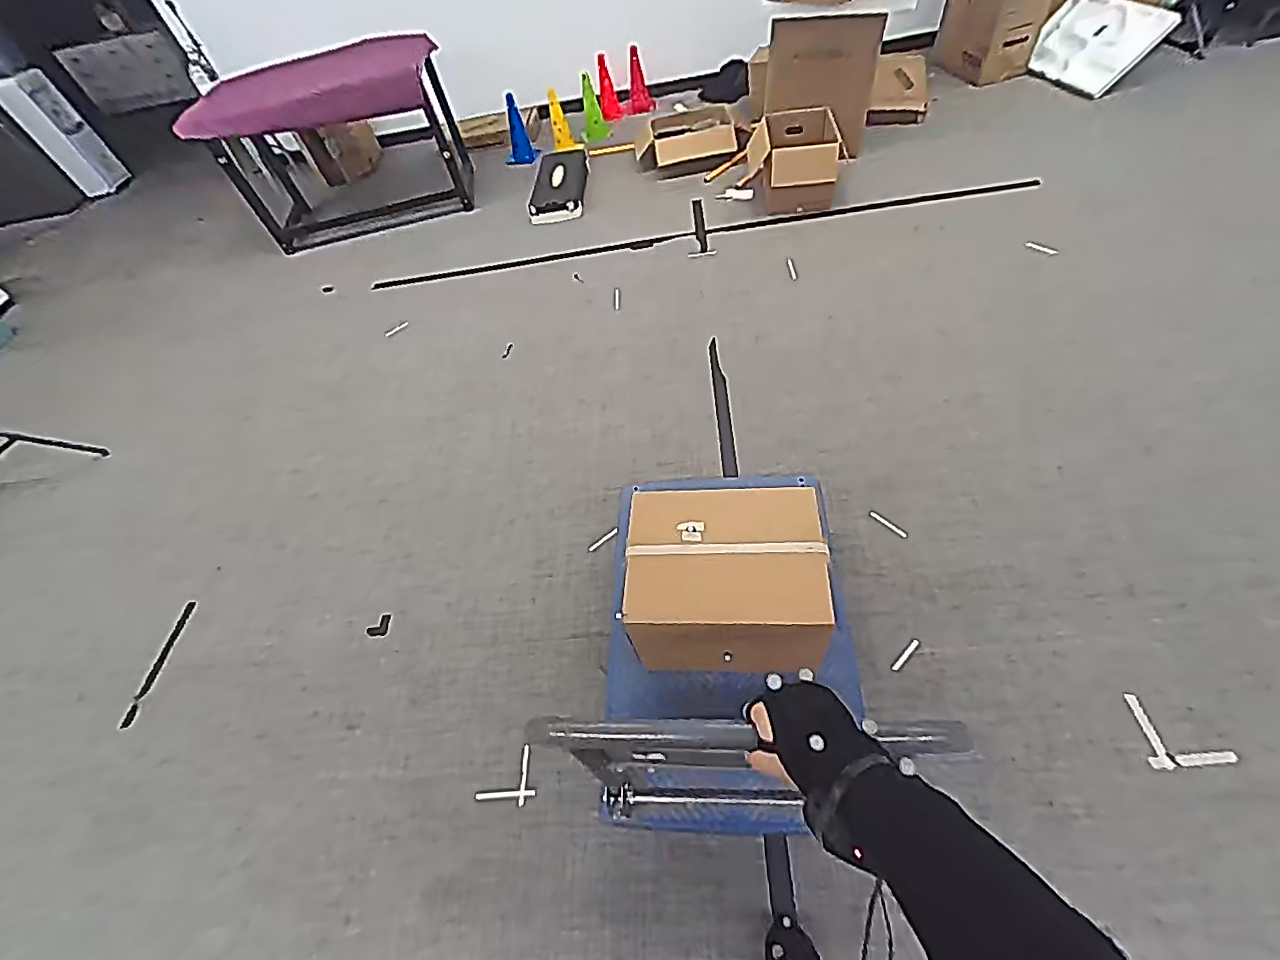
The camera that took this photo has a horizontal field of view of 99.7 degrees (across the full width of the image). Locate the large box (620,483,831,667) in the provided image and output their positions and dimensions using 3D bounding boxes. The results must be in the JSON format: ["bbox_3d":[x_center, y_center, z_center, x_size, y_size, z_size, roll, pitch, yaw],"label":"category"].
[{"bbox_3d":[0.190,0.228,1.228,0.408,0.320,0.320,-3,53,10],"label":"large box"}]
